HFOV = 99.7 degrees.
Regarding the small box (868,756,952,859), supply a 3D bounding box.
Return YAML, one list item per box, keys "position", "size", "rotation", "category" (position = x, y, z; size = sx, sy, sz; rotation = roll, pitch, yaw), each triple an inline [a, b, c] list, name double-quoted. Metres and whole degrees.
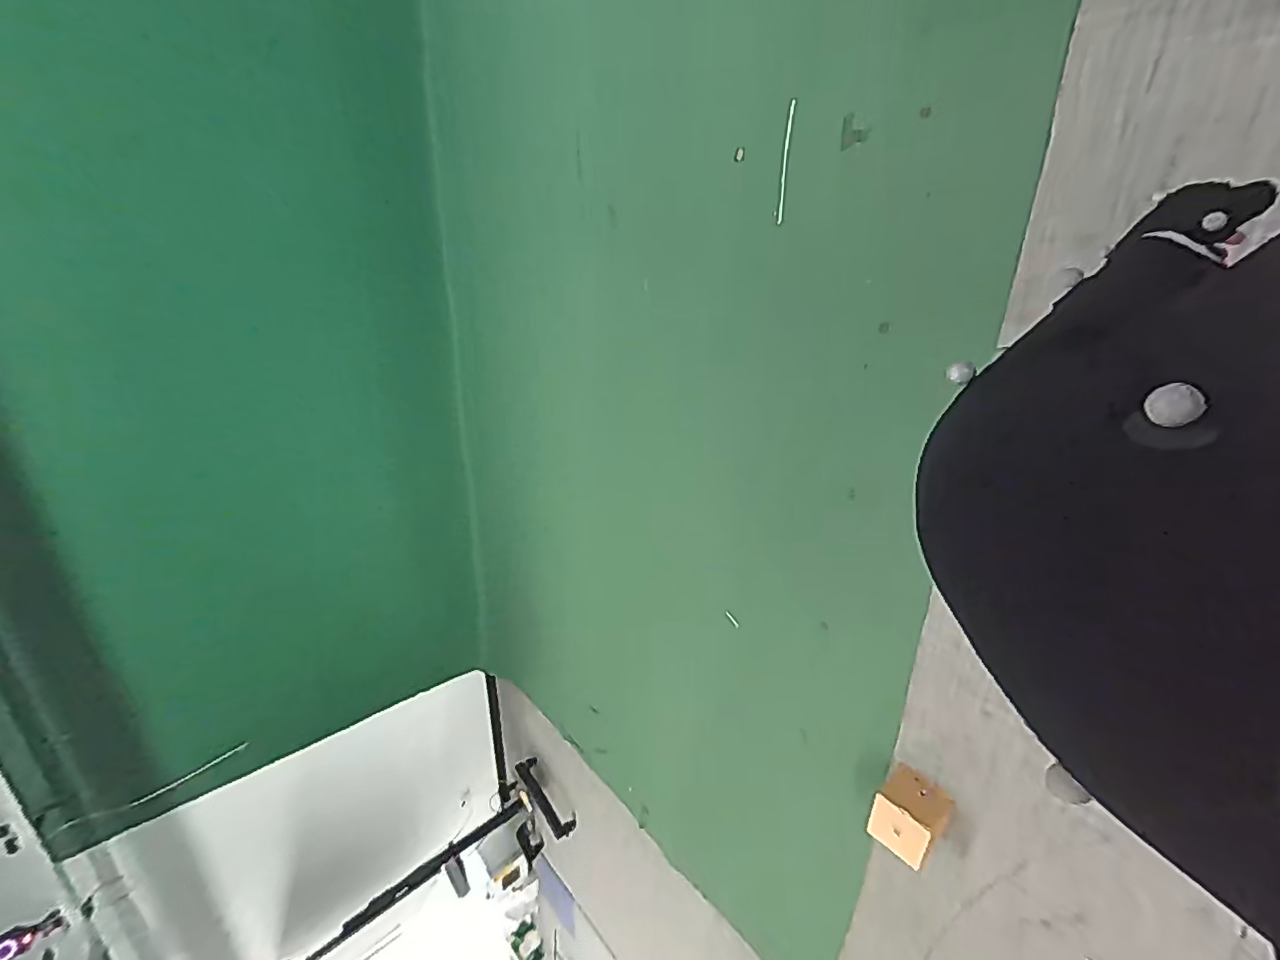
- position: [0.844, 1.014, 1.688]
  size: [0.168, 0.176, 0.179]
  rotation: [24, 121, 43]
  category: "small box"
